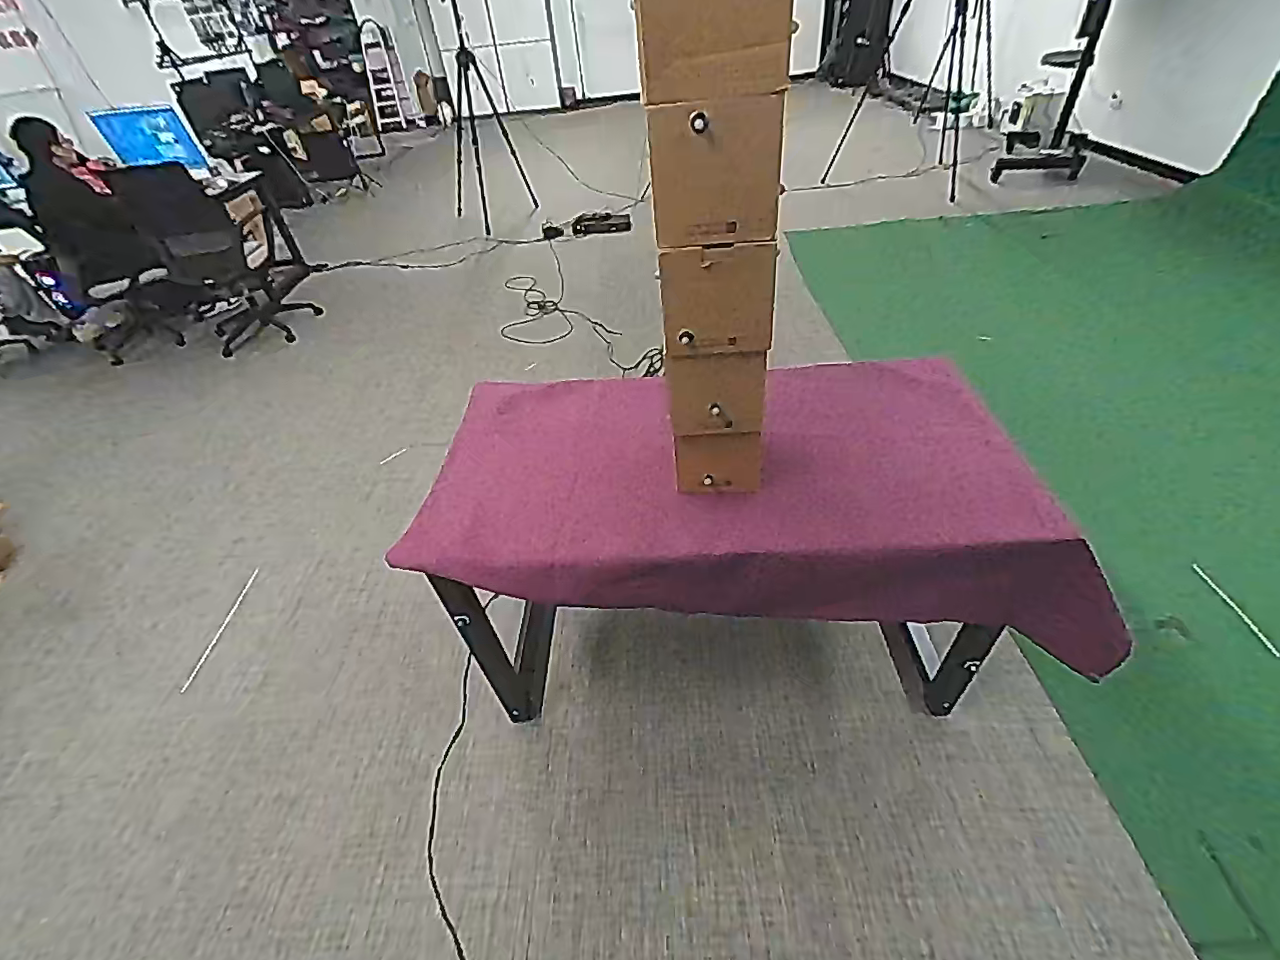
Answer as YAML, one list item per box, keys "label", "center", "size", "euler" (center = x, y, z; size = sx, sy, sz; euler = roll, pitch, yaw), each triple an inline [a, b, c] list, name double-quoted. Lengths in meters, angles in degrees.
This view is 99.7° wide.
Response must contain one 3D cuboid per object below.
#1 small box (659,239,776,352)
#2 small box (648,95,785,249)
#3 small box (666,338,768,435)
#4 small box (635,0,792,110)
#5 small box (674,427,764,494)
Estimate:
- label: "small box"
  center: [0.124, -0.314, 0.863]
  size: [0.168, 0.176, 0.179]
  euler: [-2, 41, 7]
- label: "small box"
  center: [0.106, -0.438, 0.758]
  size: [0.168, 0.176, 0.179]
  euler: [-1, 41, 8]
- label: "small box"
  center: [0.137, -0.199, 0.980]
  size: [0.168, 0.176, 0.179]
  euler: [-3, 42, 7]
- label: "small box"
  center: [0.088, -0.558, 0.648]
  size: [0.179, 0.176, 0.168]
  euler: [1, 43, 9]
- label: "small box"
  center: [0.158, -0.090, 1.100]
  size: [0.168, 0.176, 0.179]
  euler: [-1, 43, 8]
